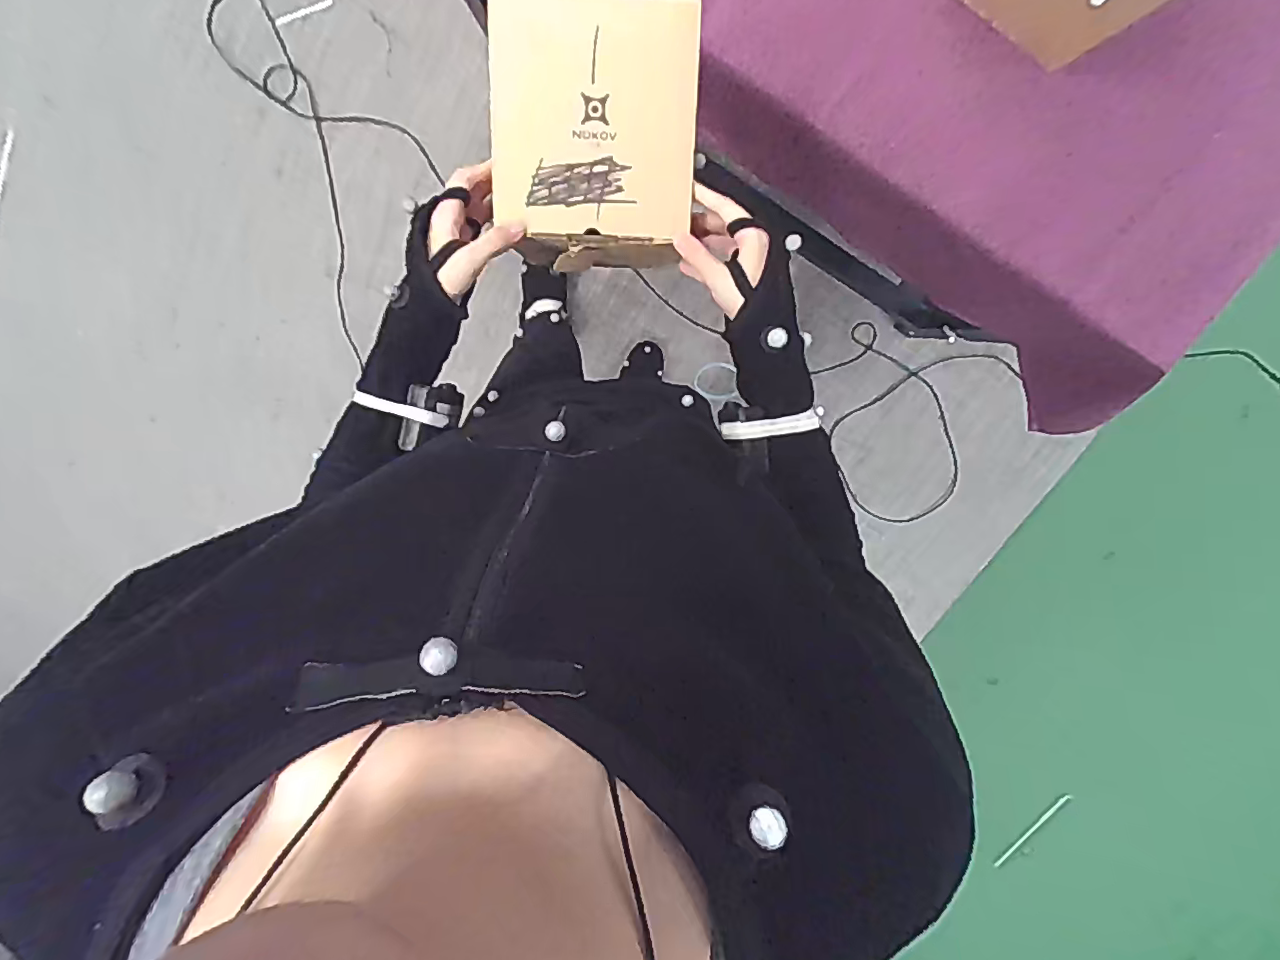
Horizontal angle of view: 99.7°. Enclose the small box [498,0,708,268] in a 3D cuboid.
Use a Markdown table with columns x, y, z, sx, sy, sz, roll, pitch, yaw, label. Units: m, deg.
| x | y | z | sx | sy | sz | roll | pitch | yaw | label |
| --- | --- | --- | --- | --- | --- | --- | --- | --- | --- |
| -0.032 | -0.305 | 0.513 | 0.168 | 0.176 | 0.179 | 2 | 103 | -1 | small box |
